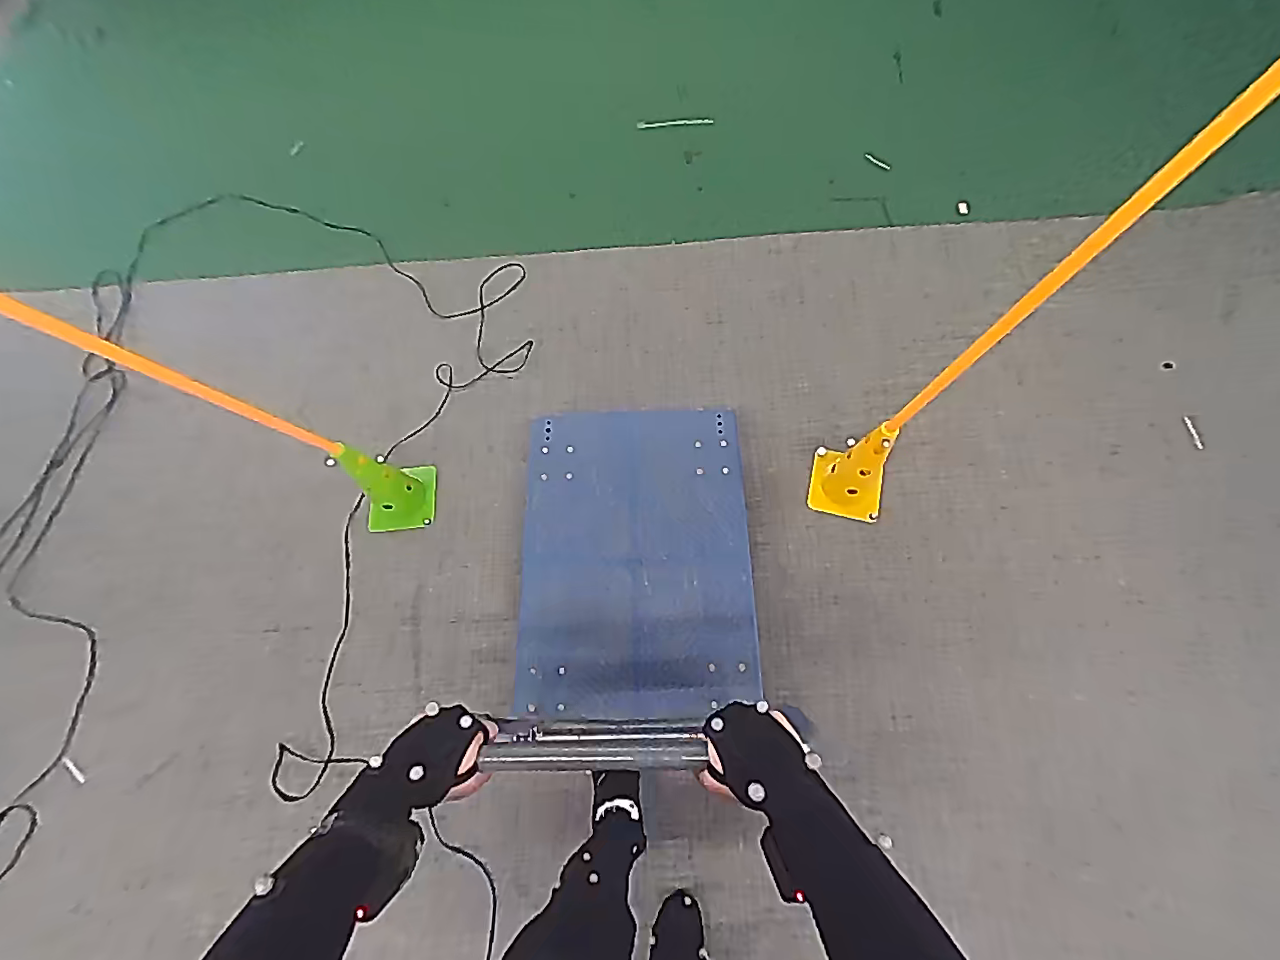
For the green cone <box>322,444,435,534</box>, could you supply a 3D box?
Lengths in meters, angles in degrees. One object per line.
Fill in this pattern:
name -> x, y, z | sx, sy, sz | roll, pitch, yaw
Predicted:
green cone -> -0.738, -0.007, 1.484 | 0.202, 0.368, 0.200 | -7, 67, 2
